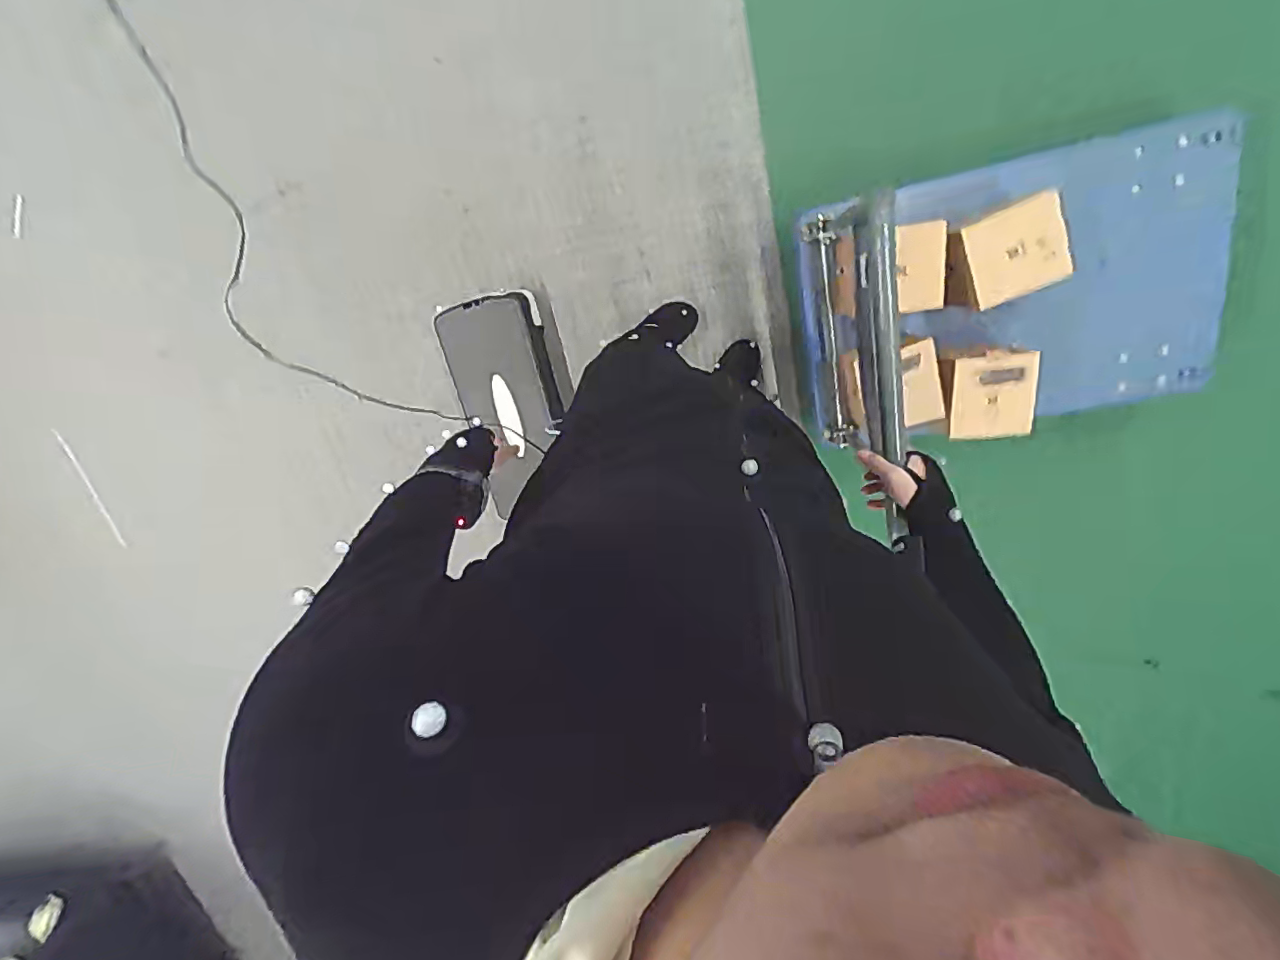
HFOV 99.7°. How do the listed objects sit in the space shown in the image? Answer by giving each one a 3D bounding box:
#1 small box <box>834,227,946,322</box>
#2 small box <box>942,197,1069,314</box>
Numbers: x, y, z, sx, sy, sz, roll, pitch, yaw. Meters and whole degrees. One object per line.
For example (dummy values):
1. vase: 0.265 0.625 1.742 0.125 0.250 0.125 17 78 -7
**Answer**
1. small box: 0.528 -0.441 1.164 0.179 0.176 0.168 -5 109 9
2. small box: 0.739 -0.459 1.128 0.179 0.176 0.168 -20 106 14
